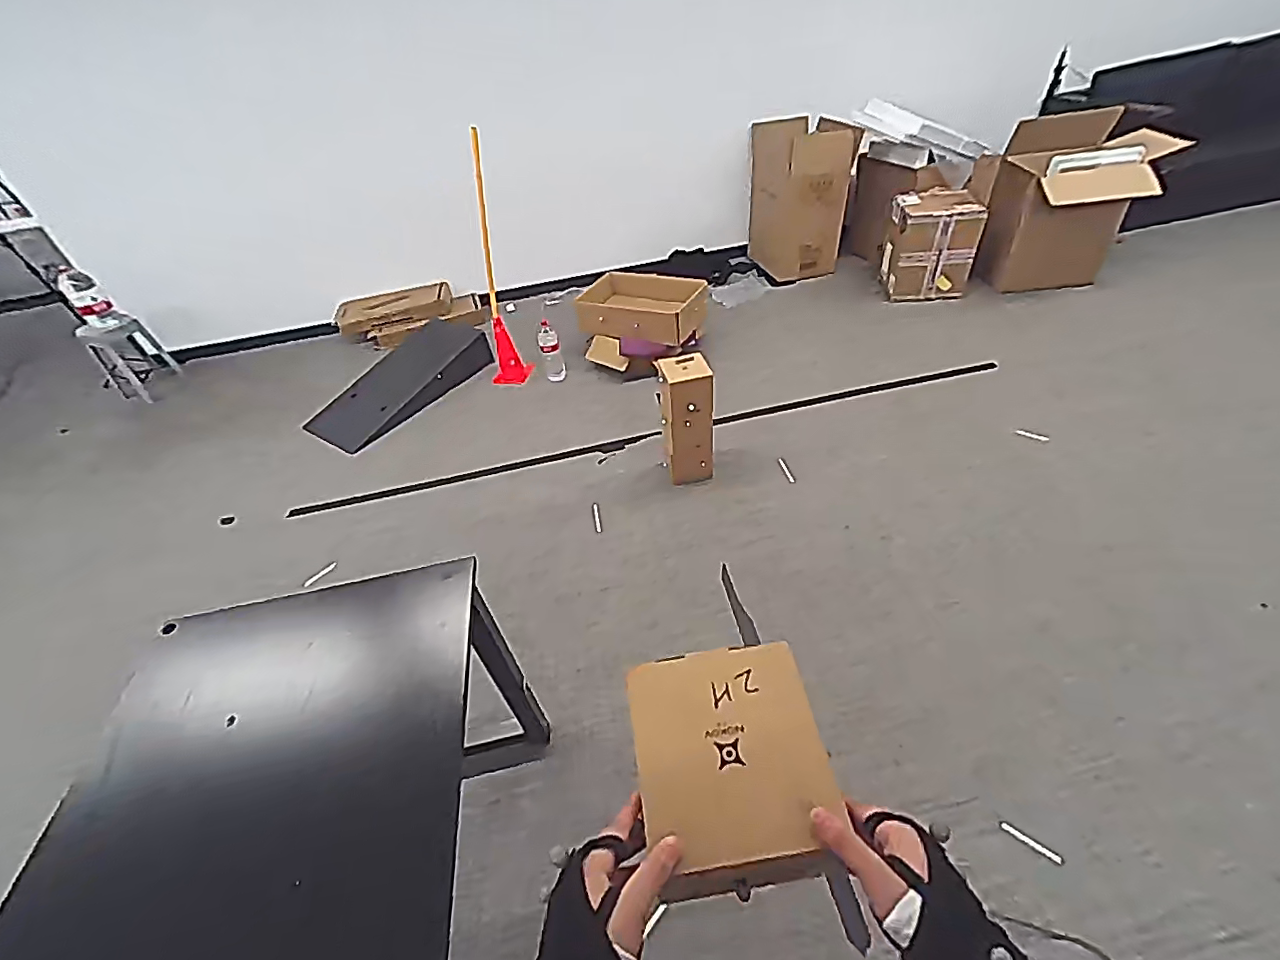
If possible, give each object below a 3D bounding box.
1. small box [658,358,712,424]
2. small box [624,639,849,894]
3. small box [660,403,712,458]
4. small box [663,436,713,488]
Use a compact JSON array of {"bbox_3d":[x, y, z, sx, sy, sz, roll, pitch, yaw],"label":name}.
[{"bbox_3d":[0.169,-0.336,2.039,0.168,0.176,0.179,-13,42,-5],"label":"small box"},{"bbox_3d":[0.082,0.286,0.534,0.168,0.176,0.179,-9,46,-2],"label":"small box"},{"bbox_3d":[0.183,-0.211,2.146,0.168,0.176,0.179,-13,40,-5],"label":"small box"},{"bbox_3d":[0.200,-0.090,2.254,0.179,0.176,0.168,-13,40,-3],"label":"small box"}]
